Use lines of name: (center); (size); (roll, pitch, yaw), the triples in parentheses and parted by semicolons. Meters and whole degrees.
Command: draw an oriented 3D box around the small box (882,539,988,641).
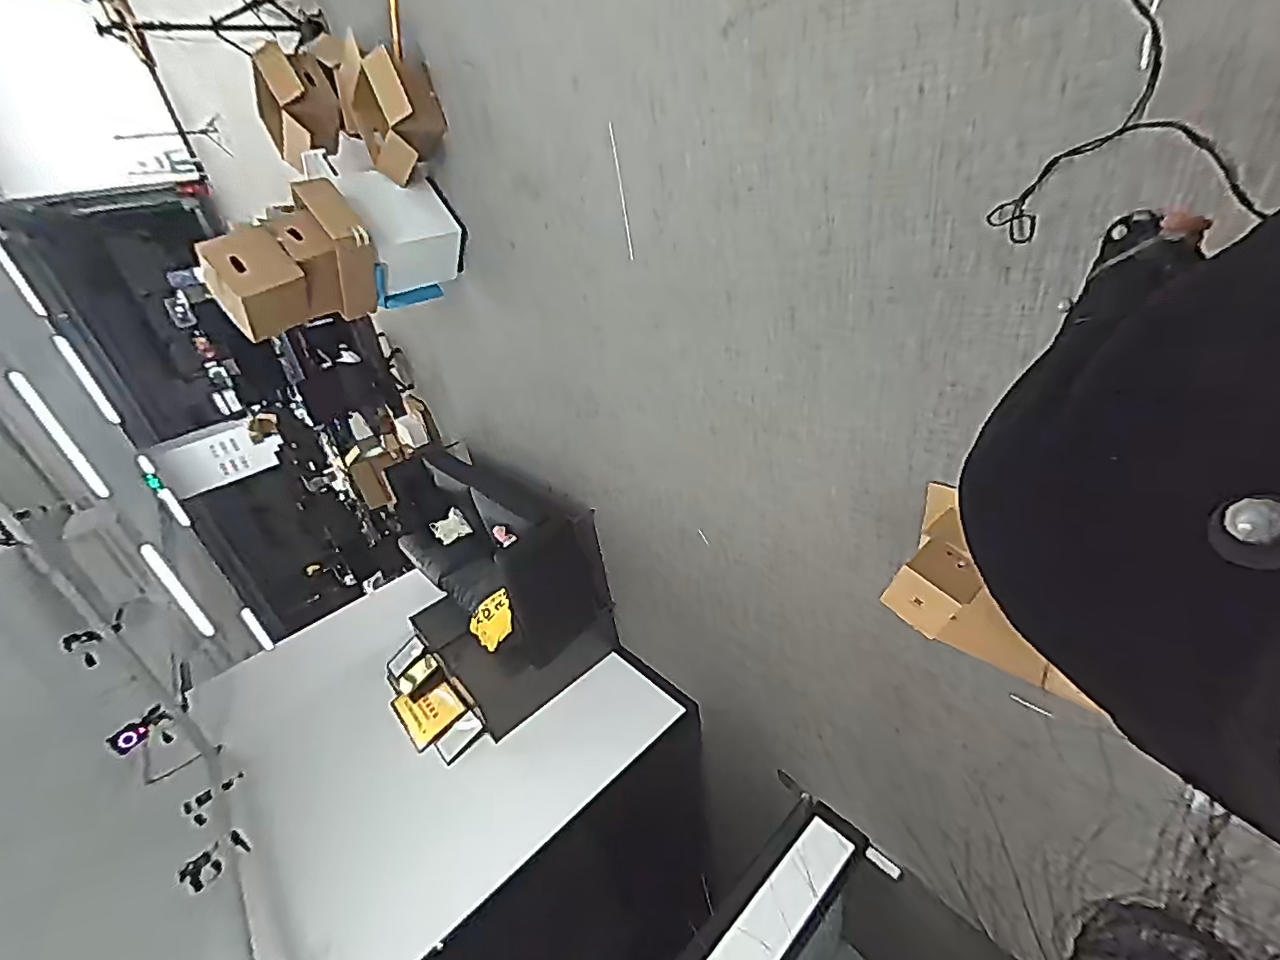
small box: (0.812, 0.299, 1.488); (0.168, 0.176, 0.179); (41, 144, 30)
